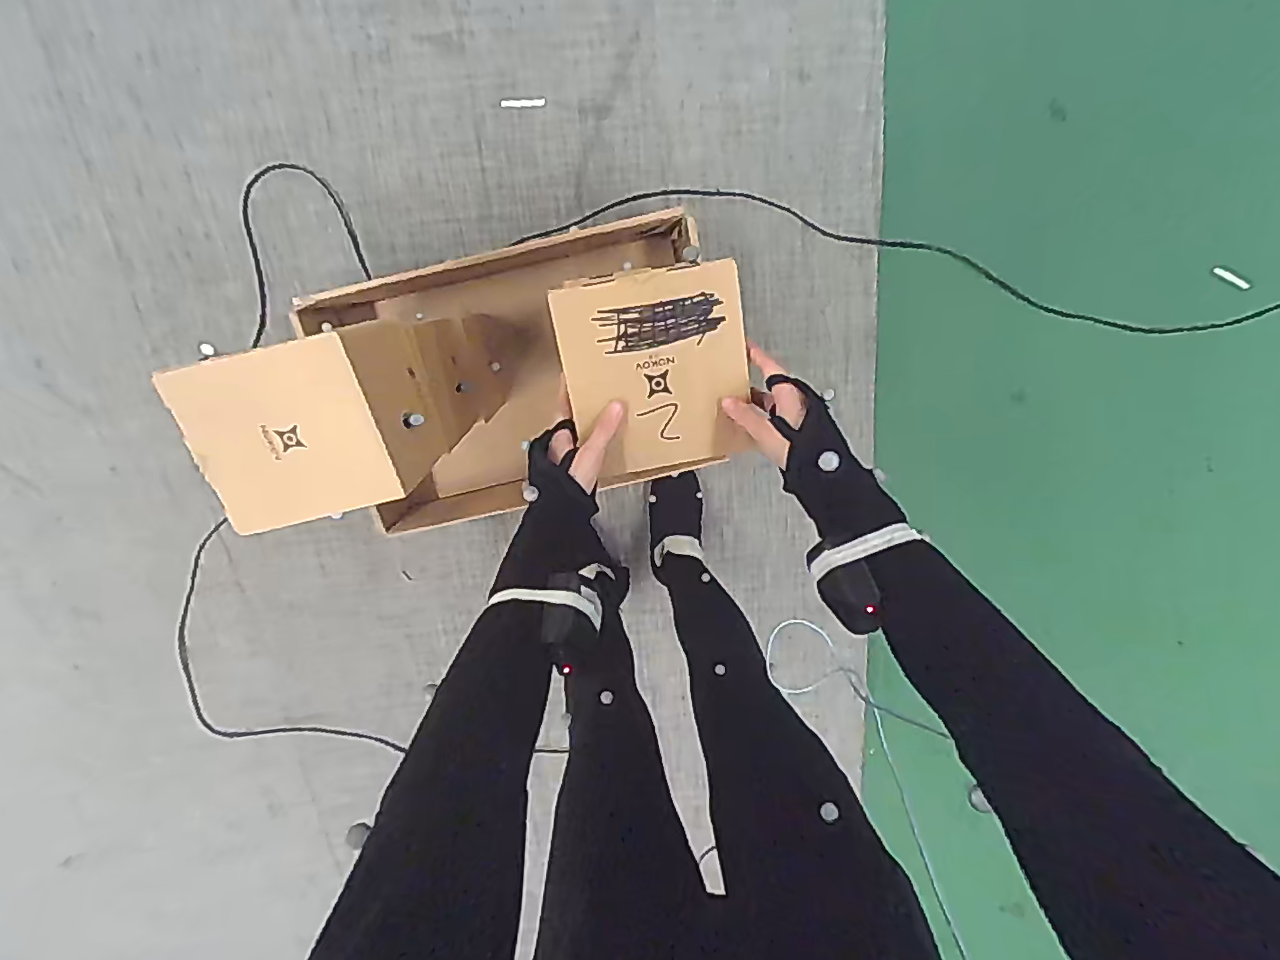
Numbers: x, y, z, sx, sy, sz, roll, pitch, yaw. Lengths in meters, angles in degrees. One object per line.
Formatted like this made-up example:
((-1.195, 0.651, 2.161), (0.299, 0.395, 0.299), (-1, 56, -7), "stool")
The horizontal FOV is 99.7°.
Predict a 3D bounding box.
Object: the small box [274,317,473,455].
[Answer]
((-0.344, -0.123, 0.728), (0.179, 0.176, 0.168), (-9, 110, -2), "small box")

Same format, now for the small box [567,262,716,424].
((0.000, -0.186, 0.728), (0.168, 0.176, 0.179), (-9, 108, -2), "small box")

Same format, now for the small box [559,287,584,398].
((-0.025, -0.236, 0.884), (0.179, 0.176, 0.168), (-8, 108, 0), "small box")

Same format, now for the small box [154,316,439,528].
((-0.332, -0.072, 0.575), (0.179, 0.176, 0.168), (-13, 110, 1), "small box")
